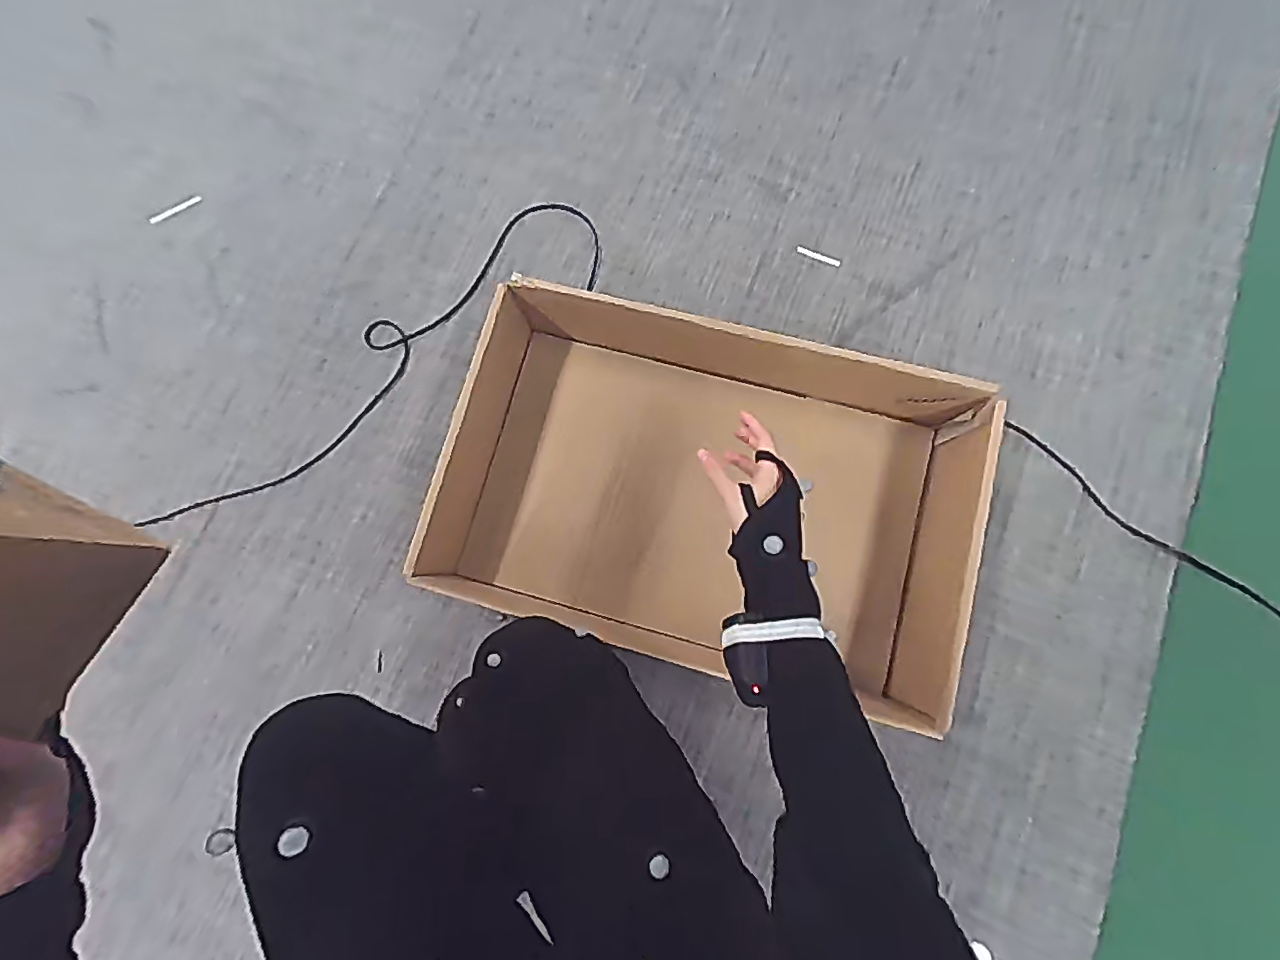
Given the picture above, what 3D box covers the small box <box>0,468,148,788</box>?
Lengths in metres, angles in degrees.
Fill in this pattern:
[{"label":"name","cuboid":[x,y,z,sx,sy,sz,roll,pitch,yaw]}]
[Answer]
[{"label":"small box","cuboid":[-0.380,0.069,0.225,0.168,0.176,0.179,28,76,-2]}]
